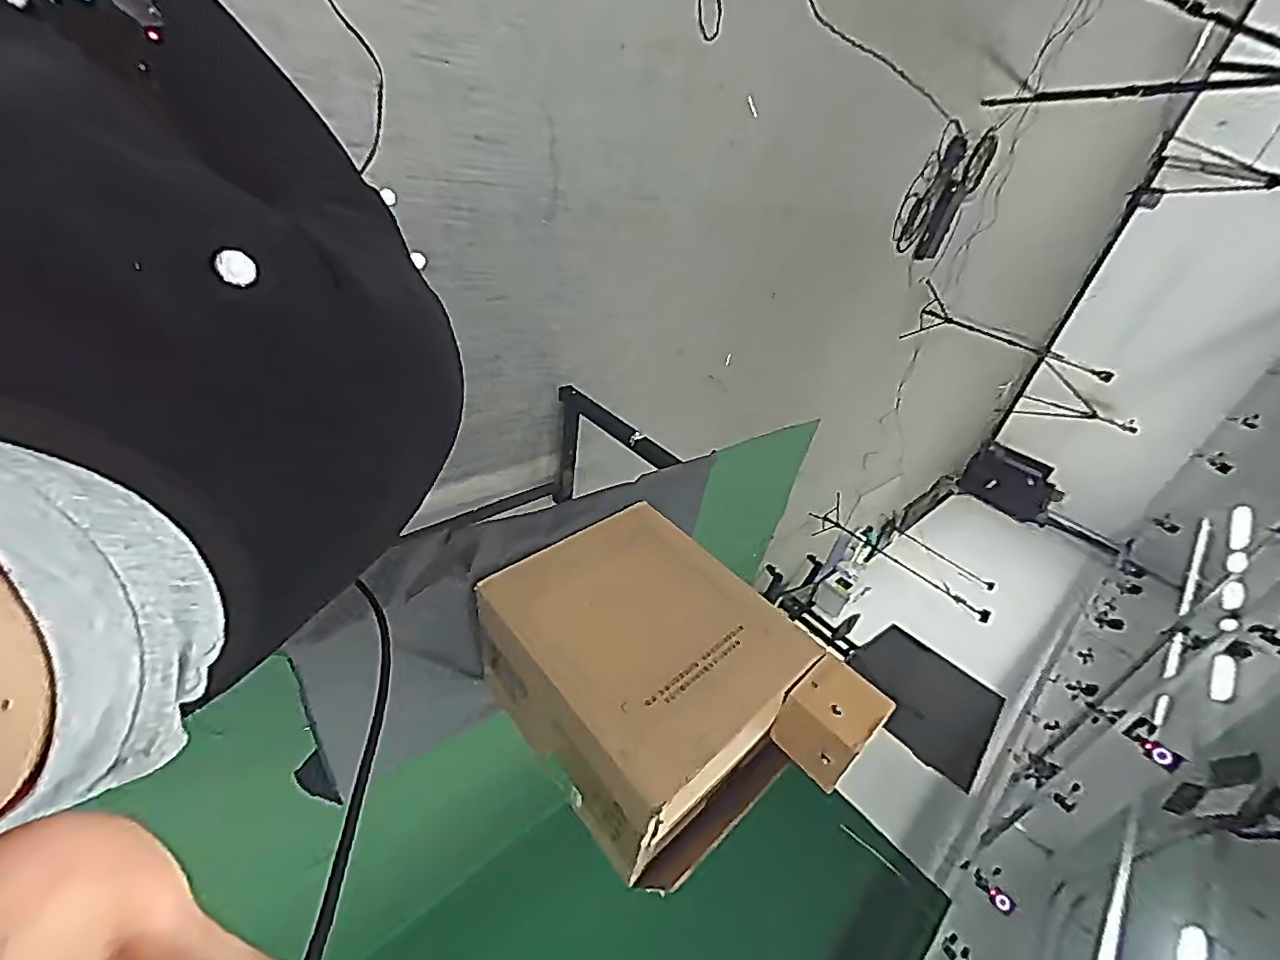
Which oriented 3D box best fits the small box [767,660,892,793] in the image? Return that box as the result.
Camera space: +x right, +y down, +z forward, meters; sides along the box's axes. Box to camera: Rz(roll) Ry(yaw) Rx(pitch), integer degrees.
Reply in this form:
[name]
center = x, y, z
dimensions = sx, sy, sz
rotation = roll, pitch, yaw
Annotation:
[small box]
center = 0.399, 0.519, 1.166
dimensions = 0.168, 0.176, 0.179
rotation = -24, 139, -36
